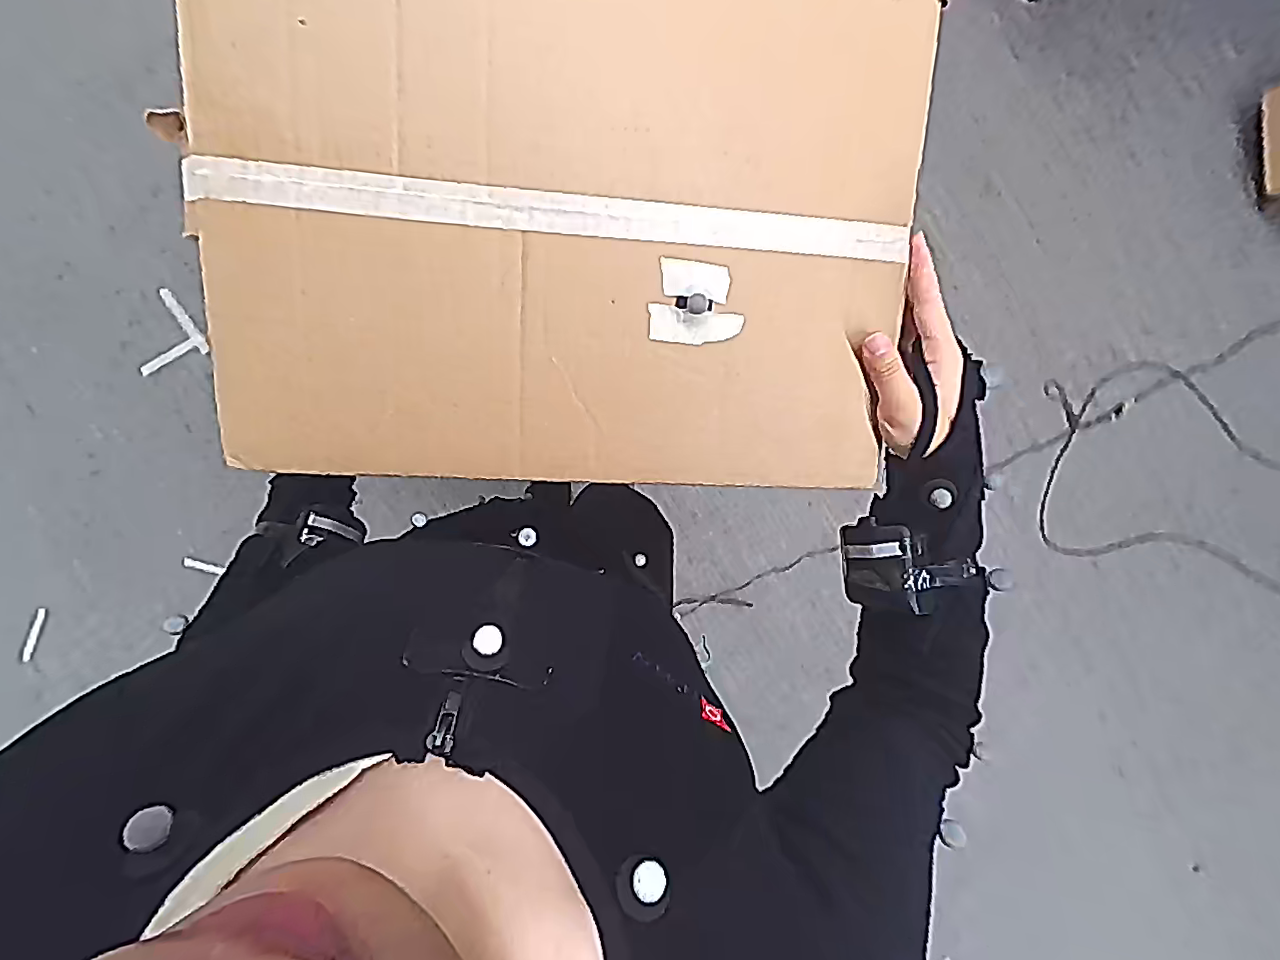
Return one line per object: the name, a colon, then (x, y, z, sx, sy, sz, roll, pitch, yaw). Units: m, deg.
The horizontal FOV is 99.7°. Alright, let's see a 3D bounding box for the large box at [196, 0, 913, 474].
large box: (-0.058, -0.186, 0.467, 0.408, 0.320, 0.320, 0, 102, -9)
